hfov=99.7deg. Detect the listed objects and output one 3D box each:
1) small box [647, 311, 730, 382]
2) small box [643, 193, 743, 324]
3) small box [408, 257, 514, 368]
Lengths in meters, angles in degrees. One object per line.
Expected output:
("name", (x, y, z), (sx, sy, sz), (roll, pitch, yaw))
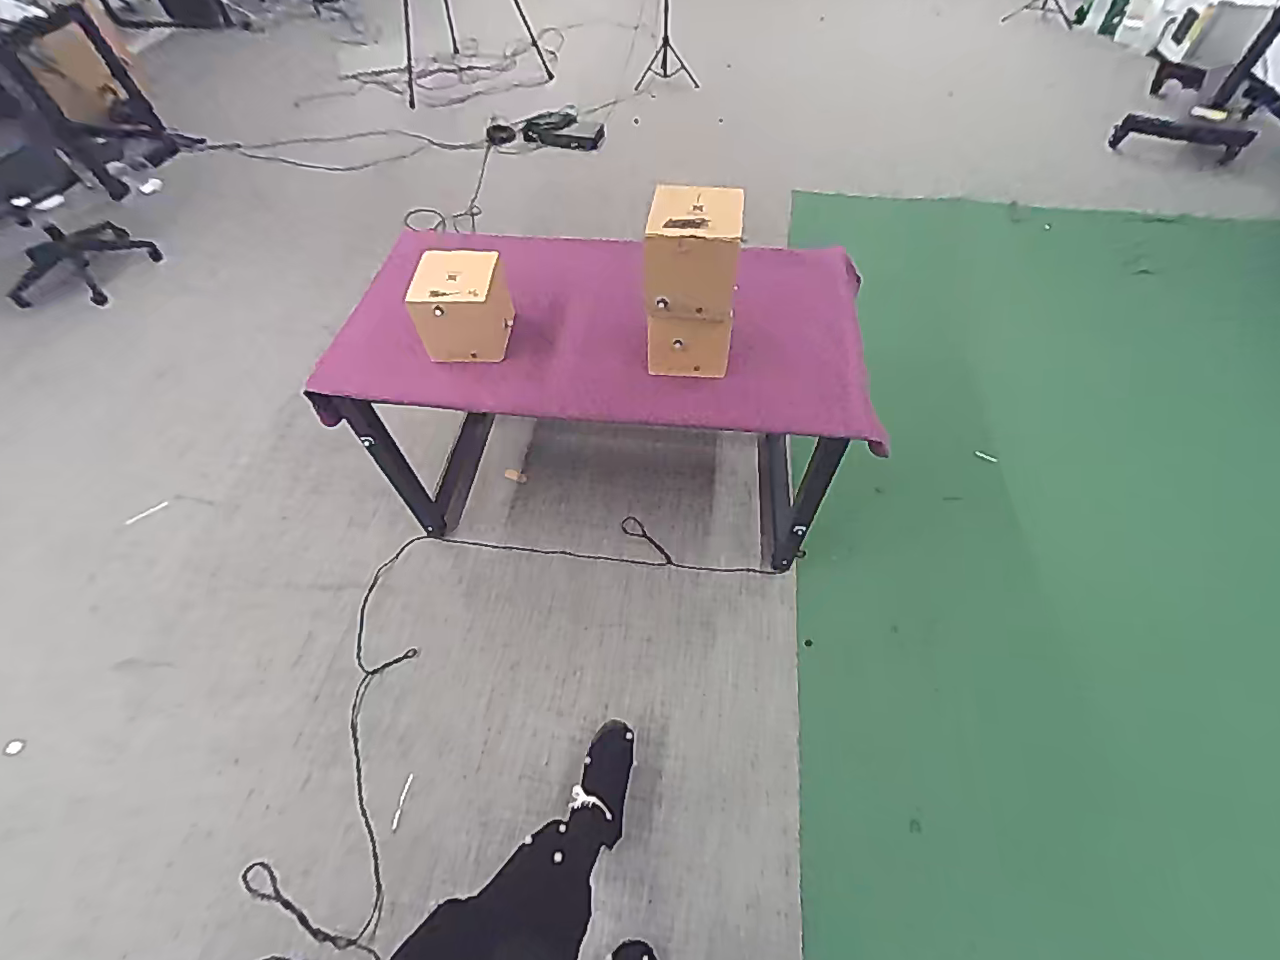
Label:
("small box", (0.106, -0.328, 1.165), (0.168, 0.176, 0.179), (3, 54, 4))
("small box", (0.101, -0.417, 1.026), (0.168, 0.176, 0.179), (6, 53, 6))
("small box", (-0.388, -0.373, 1.208), (0.168, 0.176, 0.179), (0, 55, 2))
